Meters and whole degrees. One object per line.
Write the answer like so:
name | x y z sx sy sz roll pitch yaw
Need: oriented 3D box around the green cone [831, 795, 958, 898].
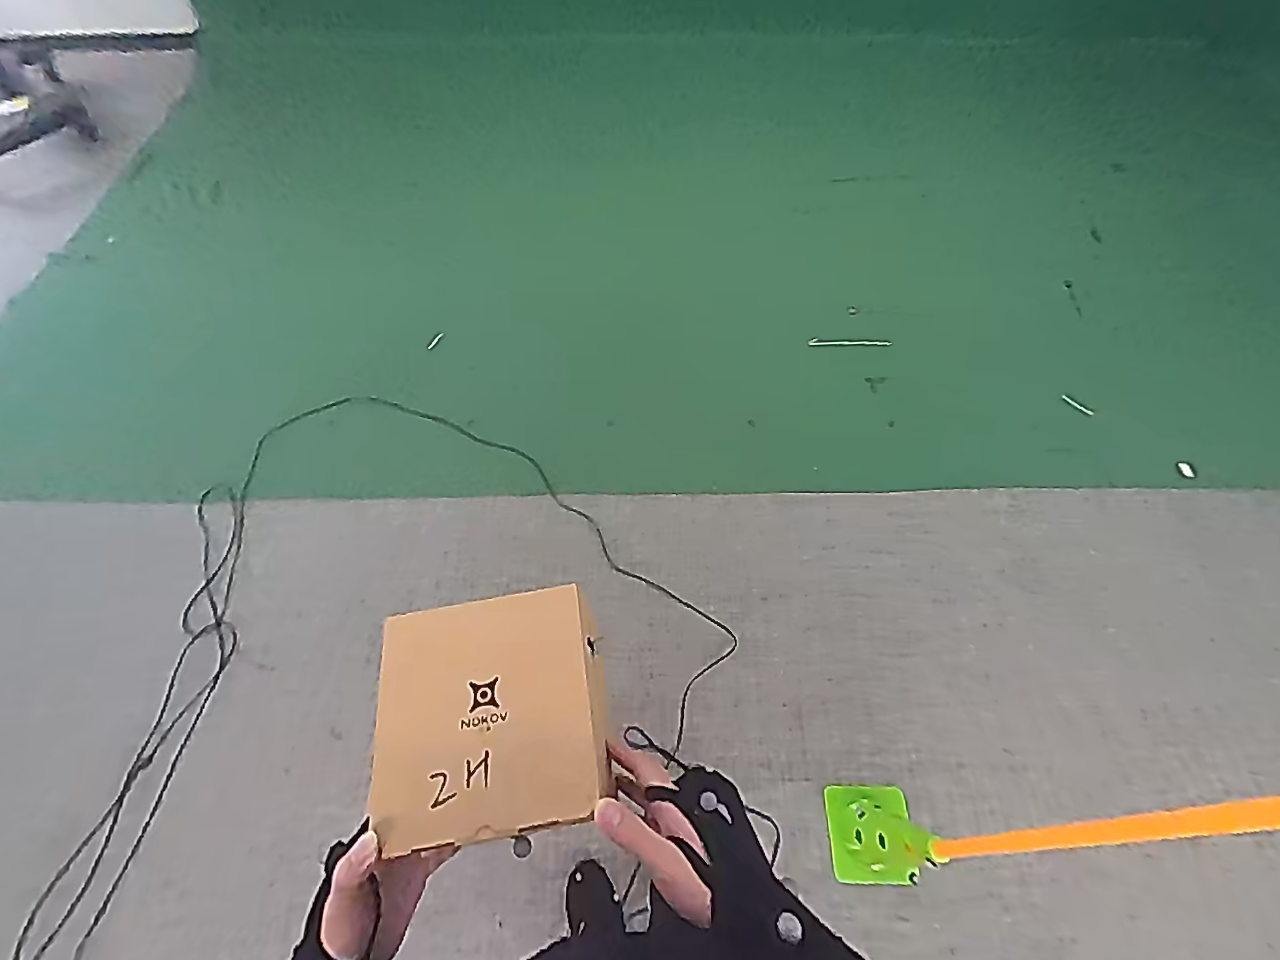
green cone | 0.561 0.772 1.127 0.202 0.368 0.200 0 59 1
